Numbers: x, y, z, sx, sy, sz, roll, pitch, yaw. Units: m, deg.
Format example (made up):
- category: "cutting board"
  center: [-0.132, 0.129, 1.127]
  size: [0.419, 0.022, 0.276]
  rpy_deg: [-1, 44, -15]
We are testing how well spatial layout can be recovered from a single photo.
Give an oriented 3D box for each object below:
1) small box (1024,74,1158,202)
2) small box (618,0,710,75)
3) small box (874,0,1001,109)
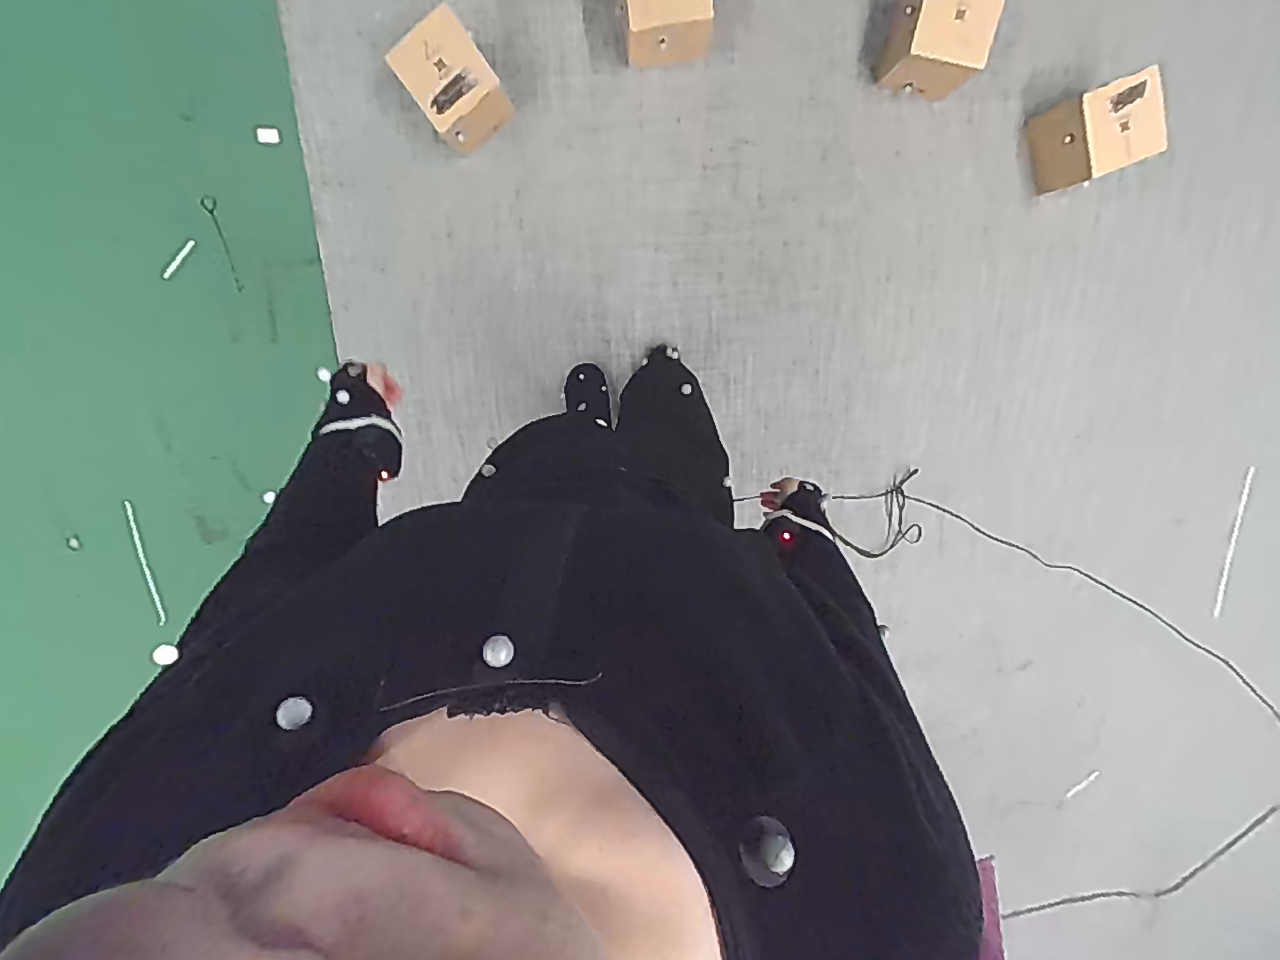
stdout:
- category: "small box"
  center: [1.030, -0.778, 1.250]
  size: [0.168, 0.176, 0.179]
  rpy_deg: [-21, 105, 4]
- category: "small box"
  center: [0.046, -1.004, 1.154]
  size: [0.179, 0.176, 0.168]
  rpy_deg: [-9, 105, 1]
- category: "small box"
  center: [0.643, -0.961, 1.188]
  size: [0.168, 0.176, 0.179]
  rpy_deg: [10, 104, -4]
